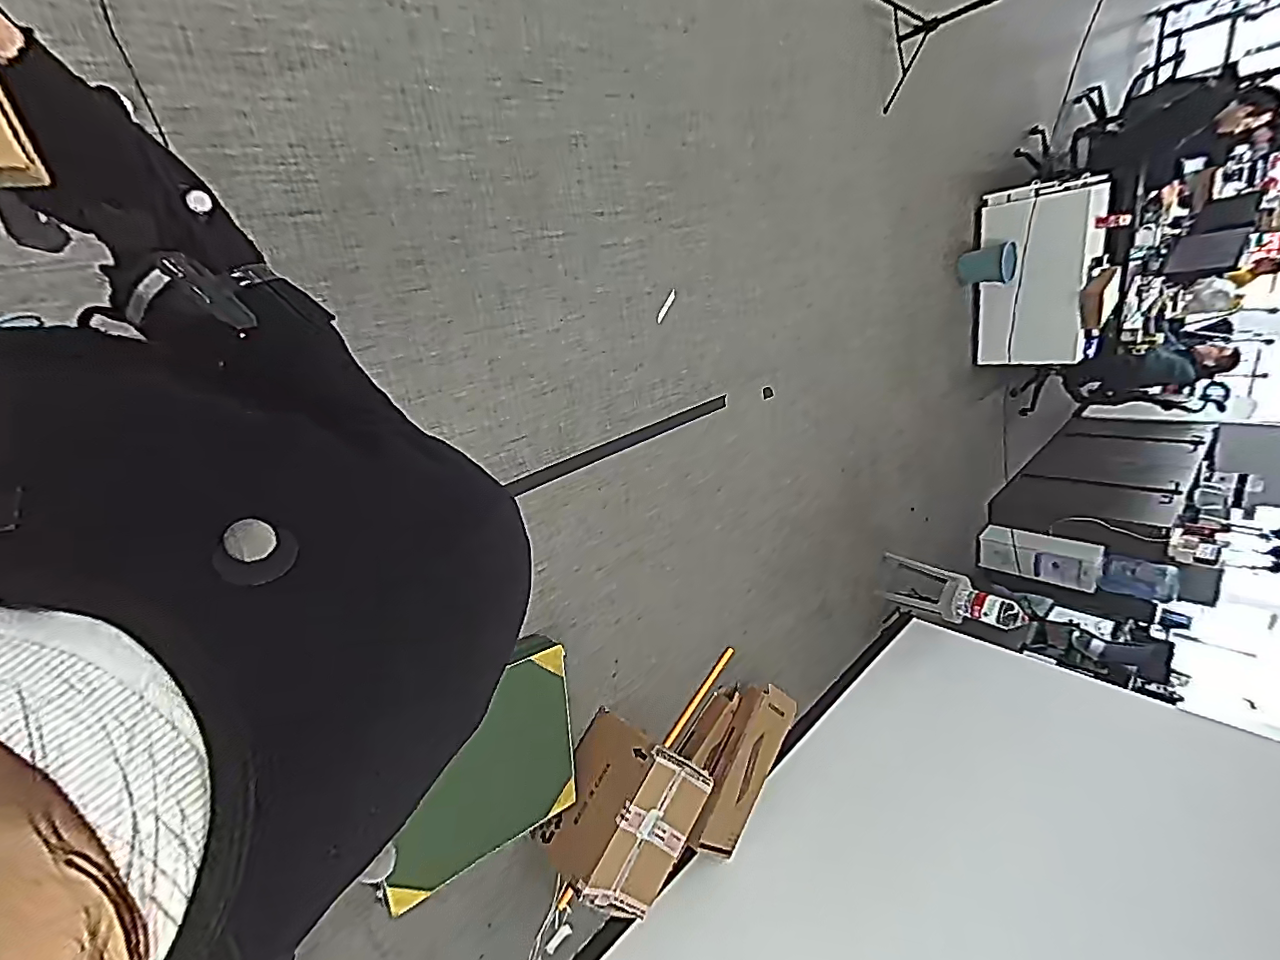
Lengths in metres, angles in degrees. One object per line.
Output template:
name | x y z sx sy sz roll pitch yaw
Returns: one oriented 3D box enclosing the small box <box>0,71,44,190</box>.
small box | -0.351 -0.189 0.169 0.176 0.168 0.179 -26 126 -36
